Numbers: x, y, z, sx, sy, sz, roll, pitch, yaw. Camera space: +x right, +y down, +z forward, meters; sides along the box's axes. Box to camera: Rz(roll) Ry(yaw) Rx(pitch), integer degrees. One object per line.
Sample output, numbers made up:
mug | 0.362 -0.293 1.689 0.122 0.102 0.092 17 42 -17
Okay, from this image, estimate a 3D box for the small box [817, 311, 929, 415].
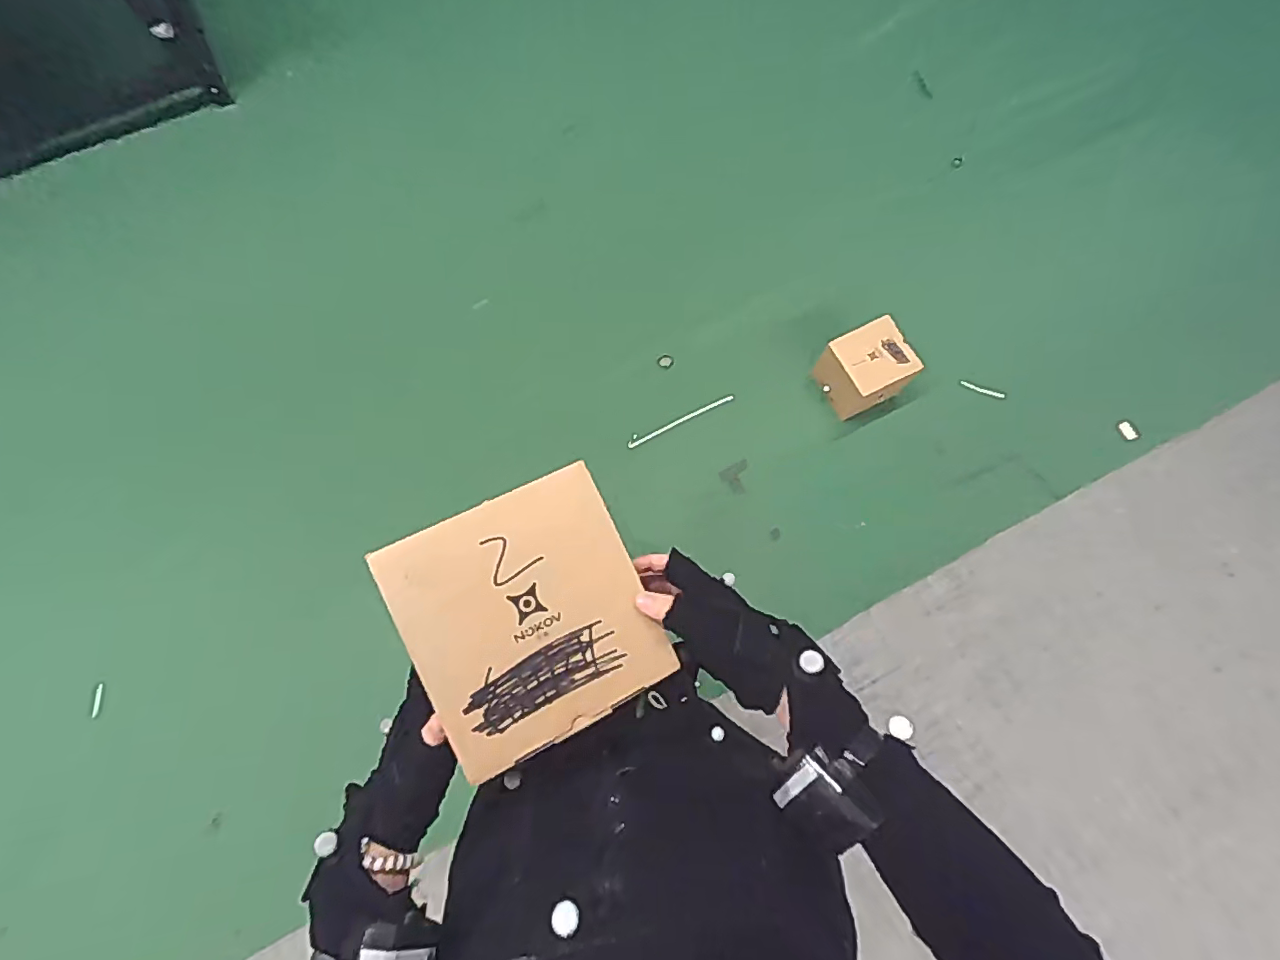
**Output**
small box | 0.584 -0.292 1.379 0.179 0.176 0.168 -26 76 -4
